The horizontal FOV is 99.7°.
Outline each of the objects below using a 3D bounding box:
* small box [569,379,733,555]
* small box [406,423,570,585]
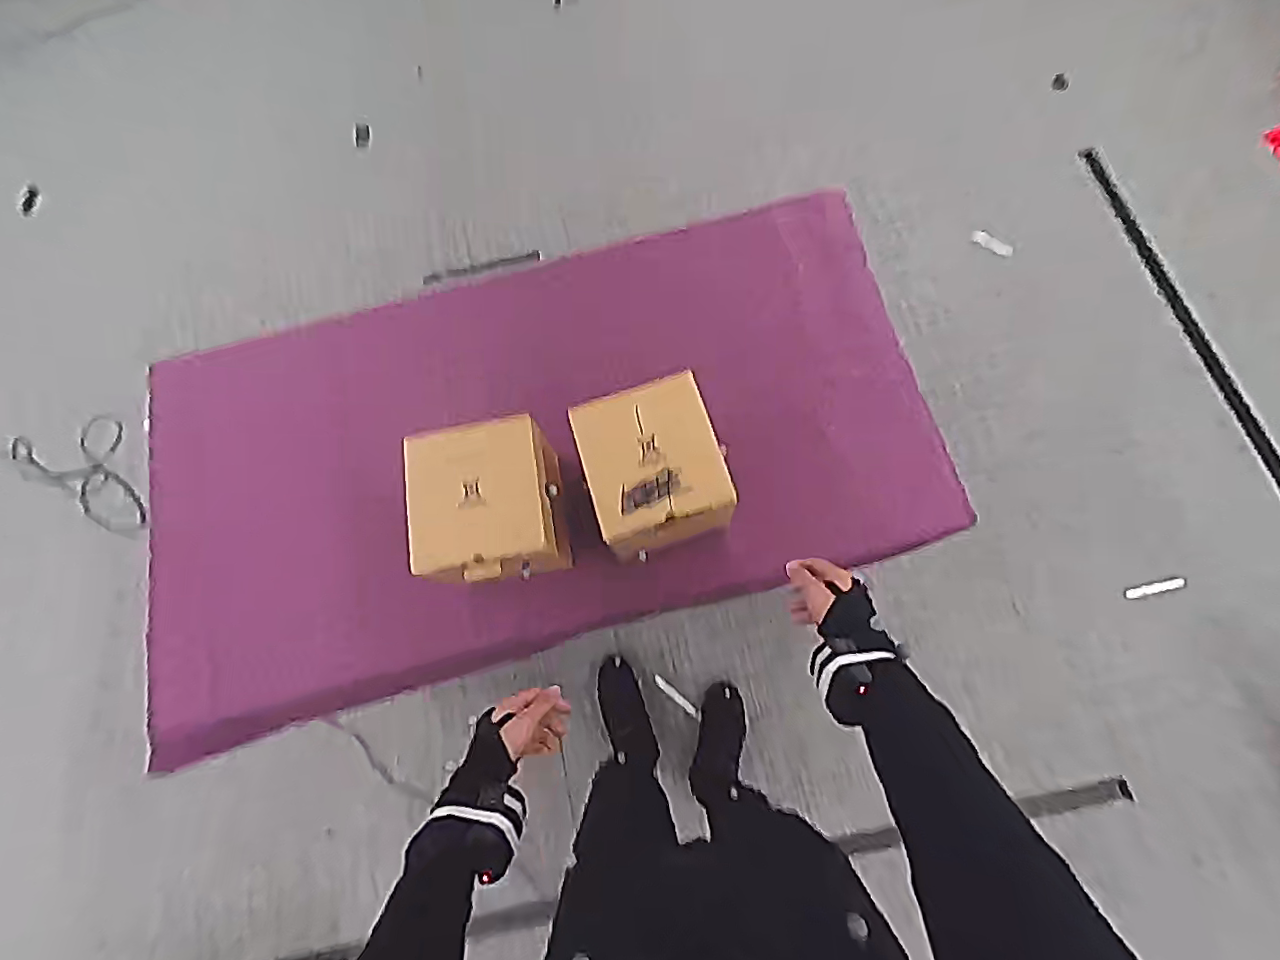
[{"bbox_3d":[0.018,-0.005,0.732,0.168,0.176,0.179,-17,73,0],"label":"small box"},{"bbox_3d":[-0.197,0.044,0.737,0.168,0.176,0.179,-10,74,1],"label":"small box"}]
